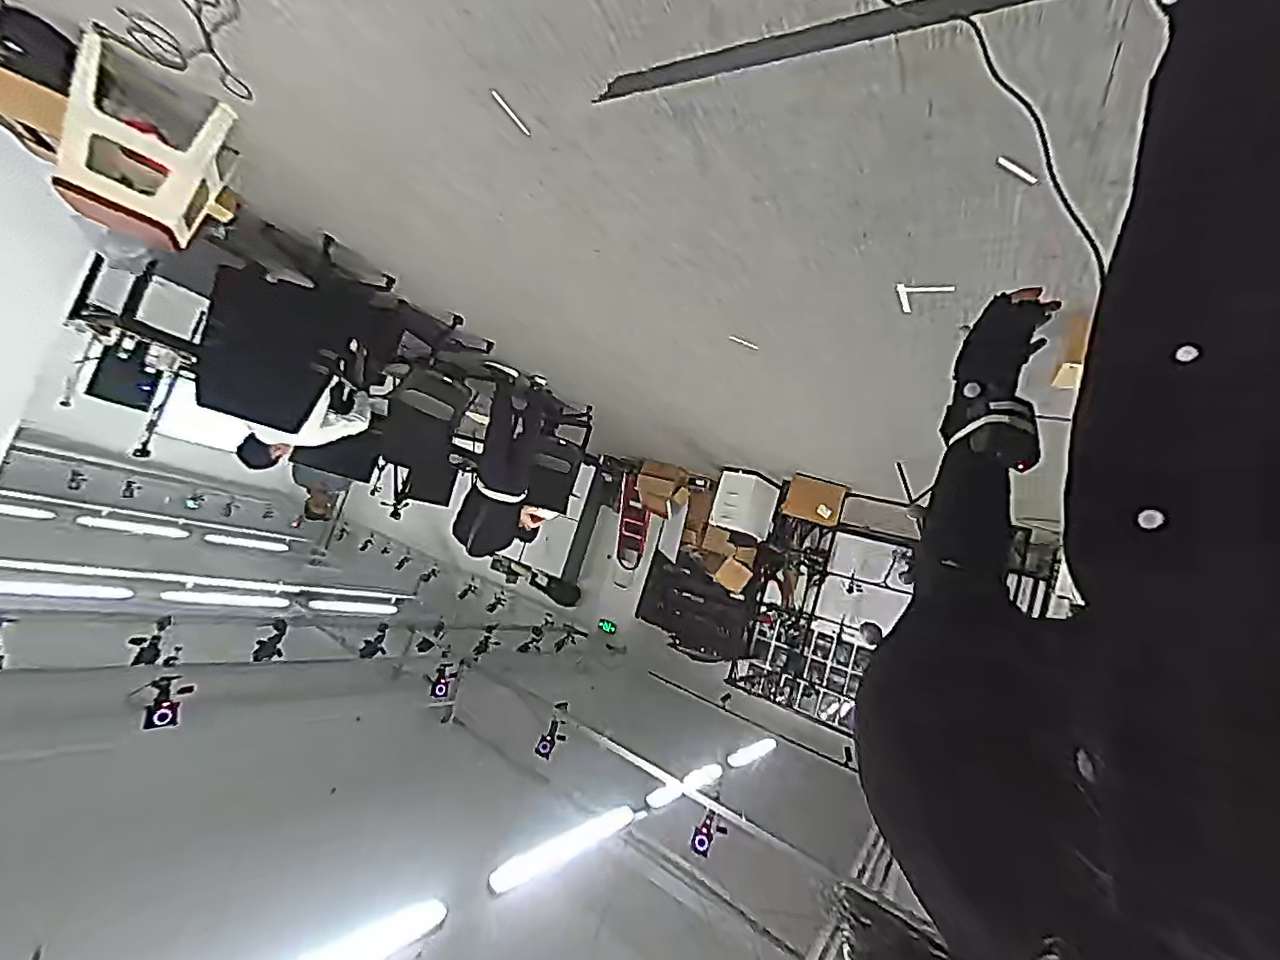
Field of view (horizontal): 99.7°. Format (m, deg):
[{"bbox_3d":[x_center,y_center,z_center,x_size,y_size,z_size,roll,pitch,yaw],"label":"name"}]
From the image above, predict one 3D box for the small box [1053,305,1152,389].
[{"bbox_3d":[1.315,-0.378,1.541,0.168,0.176,0.179,14,174,29],"label":"small box"}]
